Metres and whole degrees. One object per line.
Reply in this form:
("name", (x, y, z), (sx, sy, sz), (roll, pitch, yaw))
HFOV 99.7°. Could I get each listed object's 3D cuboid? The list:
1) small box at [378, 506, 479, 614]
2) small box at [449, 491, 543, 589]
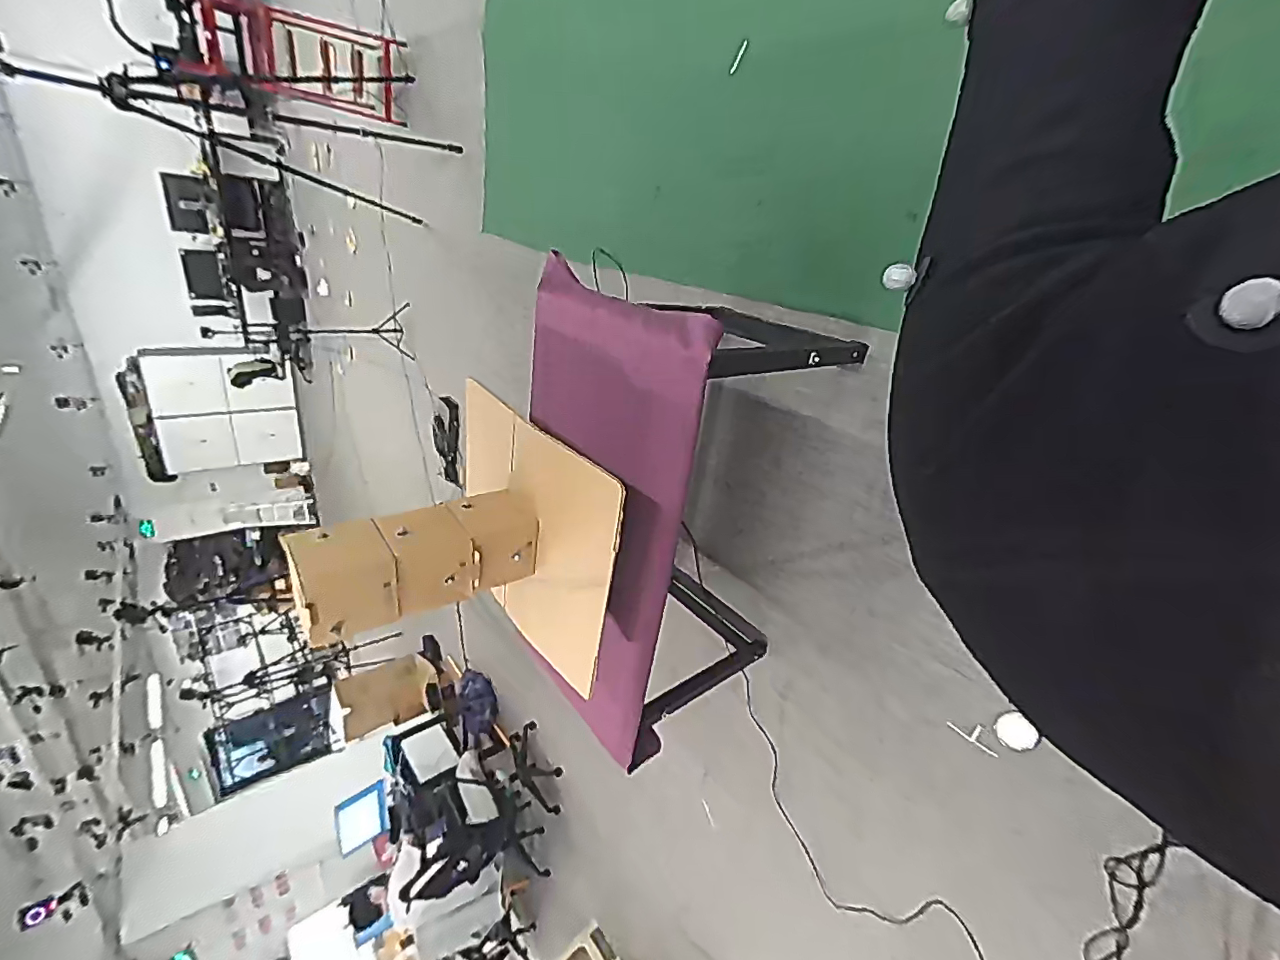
("small box", (-0.483, 0.171, 1.236), (0.179, 0.176, 0.168), (34, 125, 42))
("small box", (-0.361, 0.140, 1.339), (0.179, 0.176, 0.168), (37, 127, 41))
